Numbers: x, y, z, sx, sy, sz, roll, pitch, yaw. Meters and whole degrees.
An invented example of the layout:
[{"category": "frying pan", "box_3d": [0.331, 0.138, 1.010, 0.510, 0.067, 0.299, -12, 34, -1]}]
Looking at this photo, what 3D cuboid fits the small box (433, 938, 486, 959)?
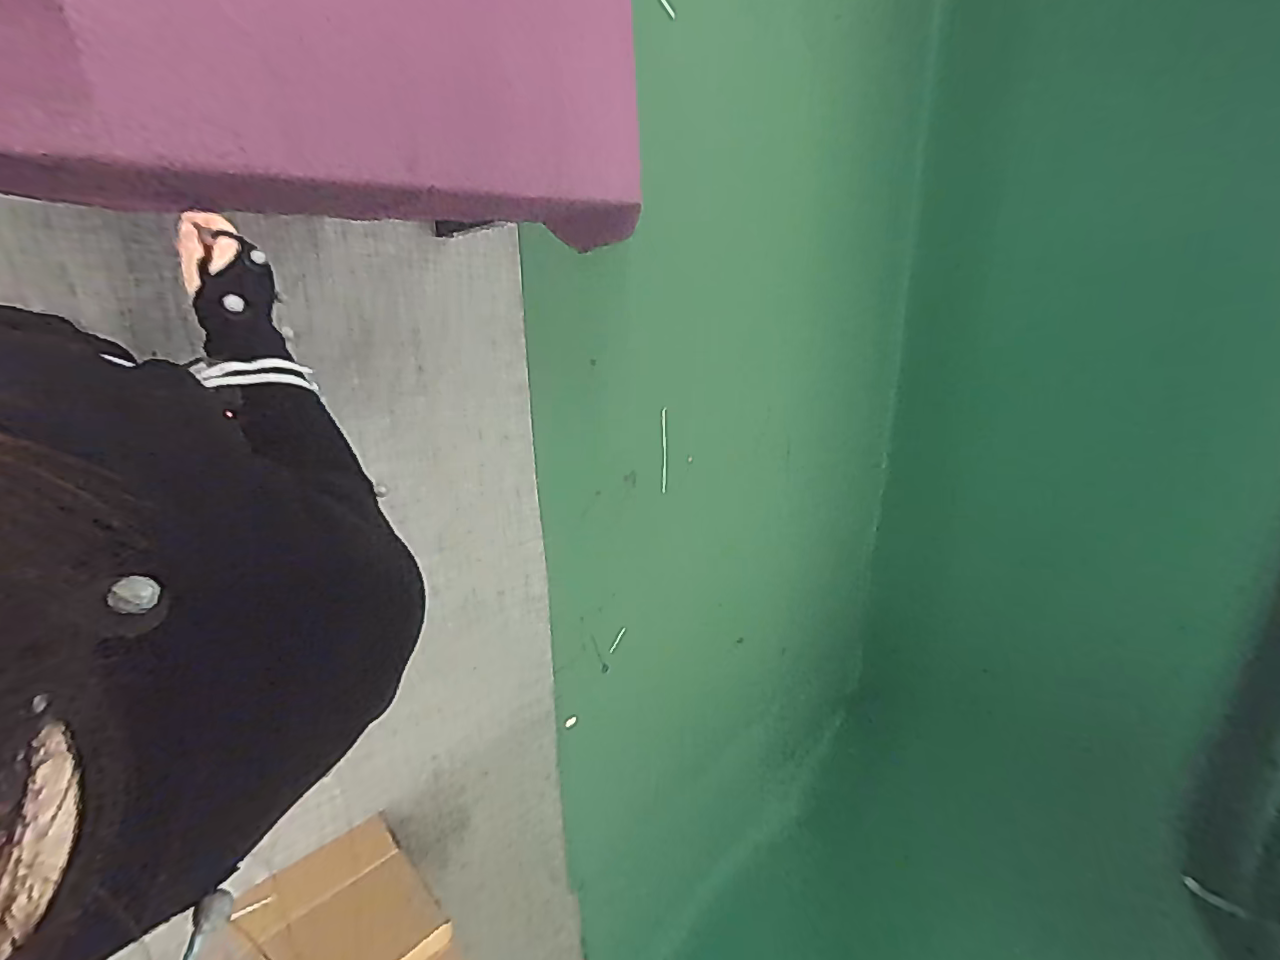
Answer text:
[{"category": "small box", "box_3d": [-0.454, 1.297, 1.337, 0.168, 0.176, 0.179, -15, 111, -40]}]
